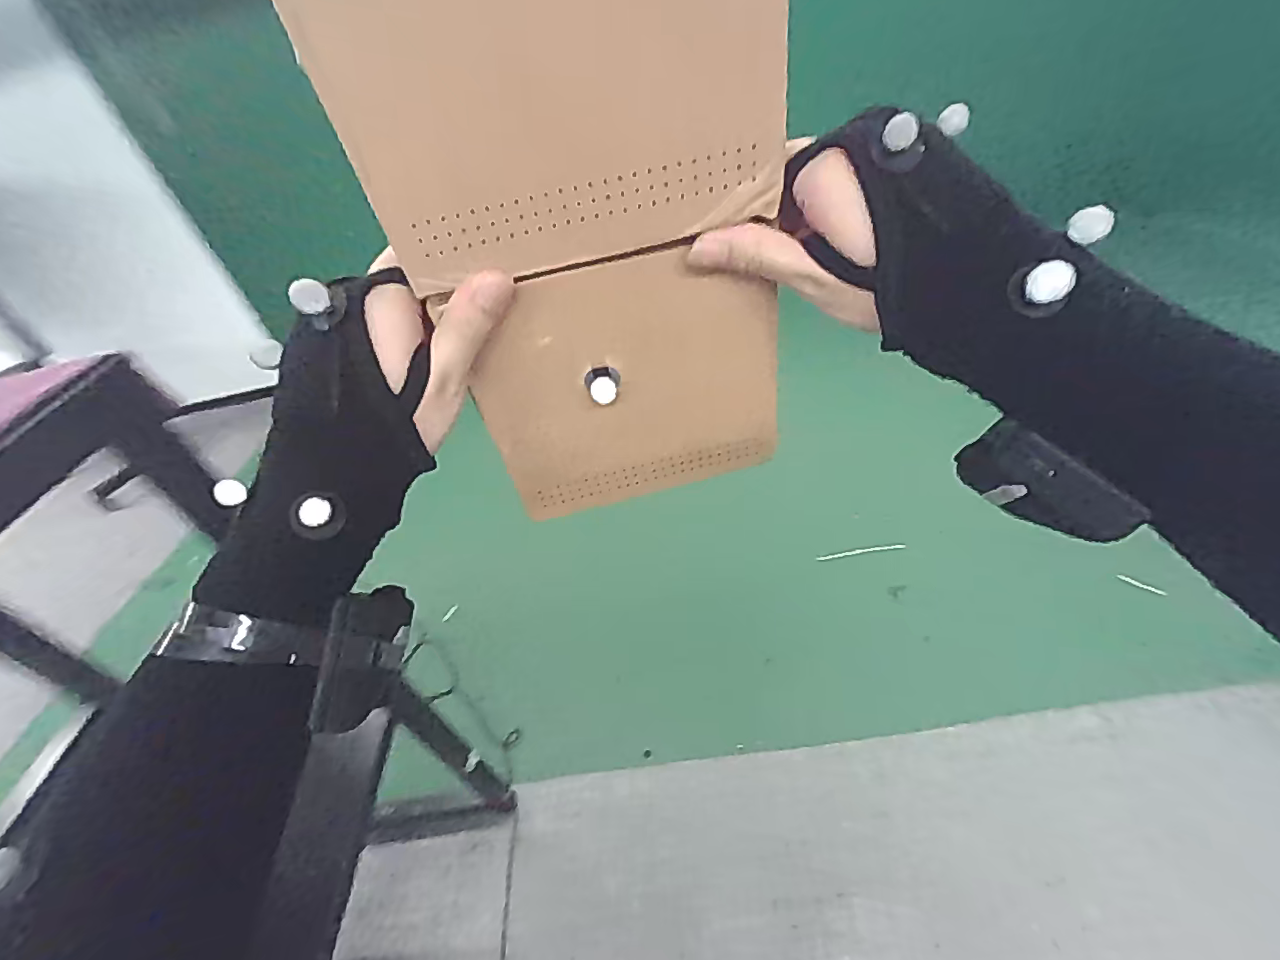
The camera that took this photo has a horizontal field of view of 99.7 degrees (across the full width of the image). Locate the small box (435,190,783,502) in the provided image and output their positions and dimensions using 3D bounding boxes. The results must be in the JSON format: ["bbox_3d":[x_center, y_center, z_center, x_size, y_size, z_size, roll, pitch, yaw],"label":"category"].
[{"bbox_3d":[-0.012,-0.108,0.367,0.179,0.176,0.168,-15,45,0],"label":"small box"}]

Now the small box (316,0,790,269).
[{"bbox_3d":[-0.036,-0.217,0.246,0.179,0.176,0.168,-11,45,2],"label":"small box"}]
